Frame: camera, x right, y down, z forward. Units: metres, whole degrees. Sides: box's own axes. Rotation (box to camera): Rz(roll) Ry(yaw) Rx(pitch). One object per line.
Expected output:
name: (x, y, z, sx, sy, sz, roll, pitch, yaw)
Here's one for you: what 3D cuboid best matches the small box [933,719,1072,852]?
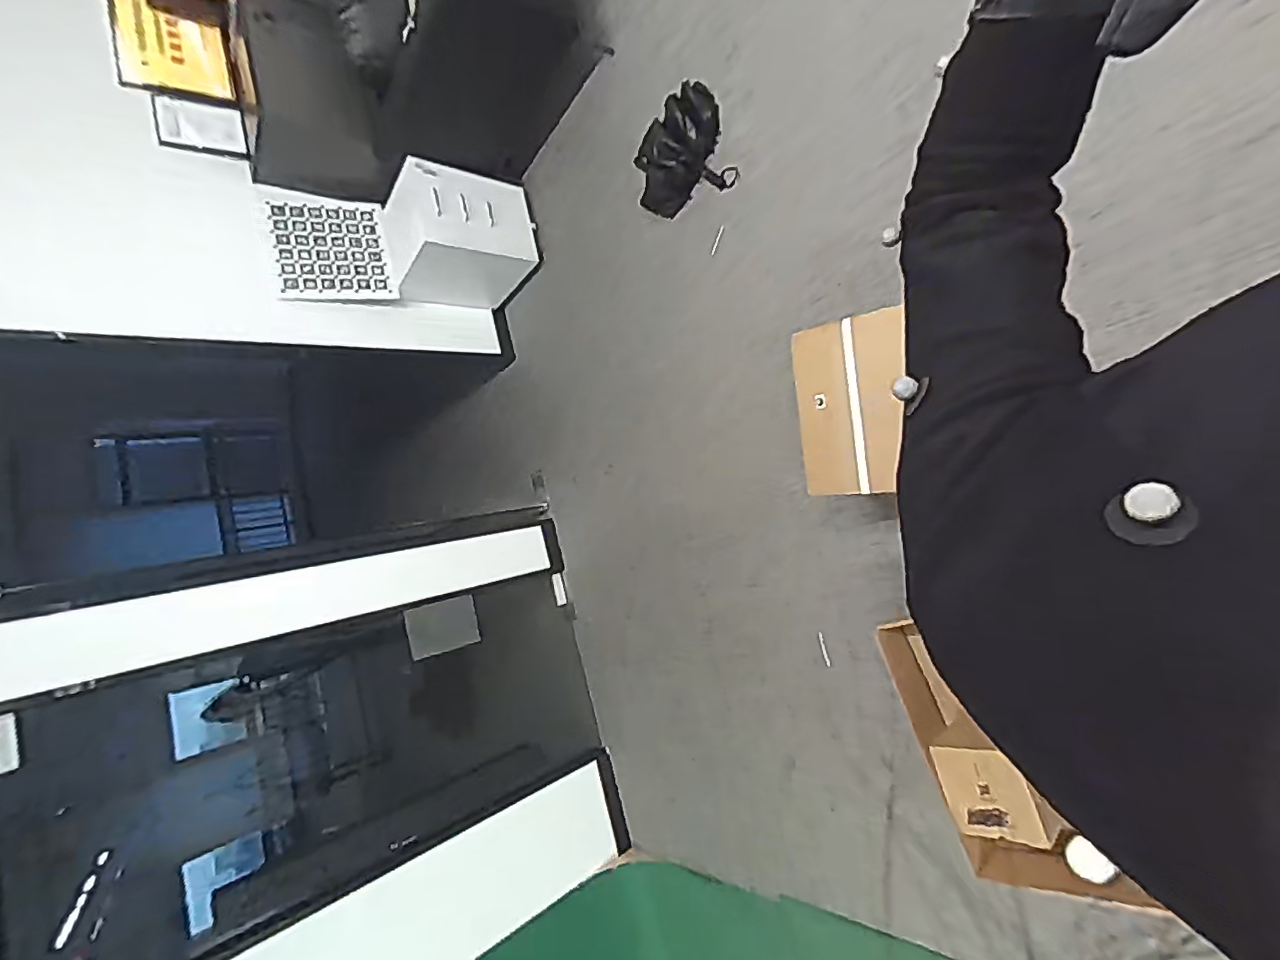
small box: (0.742, 0.611, 1.104, 0.168, 0.176, 0.179, -27, 74, 48)
